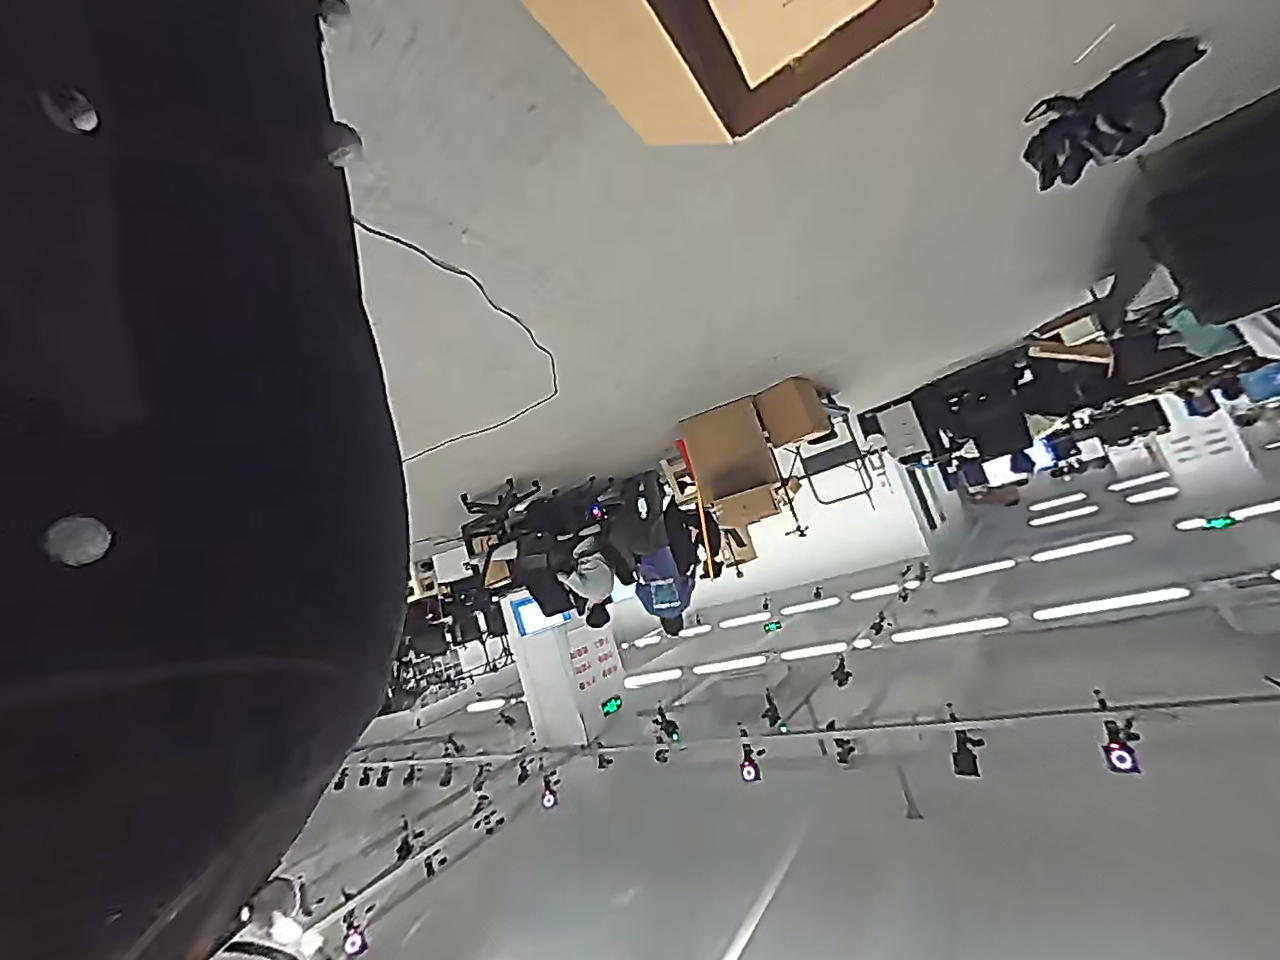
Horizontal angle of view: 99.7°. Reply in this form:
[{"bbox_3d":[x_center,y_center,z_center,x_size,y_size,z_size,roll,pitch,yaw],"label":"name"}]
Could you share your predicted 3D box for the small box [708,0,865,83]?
[{"bbox_3d":[0.143,-0.615,0.602,0.168,0.176,0.179,-24,169,27],"label":"small box"}]
